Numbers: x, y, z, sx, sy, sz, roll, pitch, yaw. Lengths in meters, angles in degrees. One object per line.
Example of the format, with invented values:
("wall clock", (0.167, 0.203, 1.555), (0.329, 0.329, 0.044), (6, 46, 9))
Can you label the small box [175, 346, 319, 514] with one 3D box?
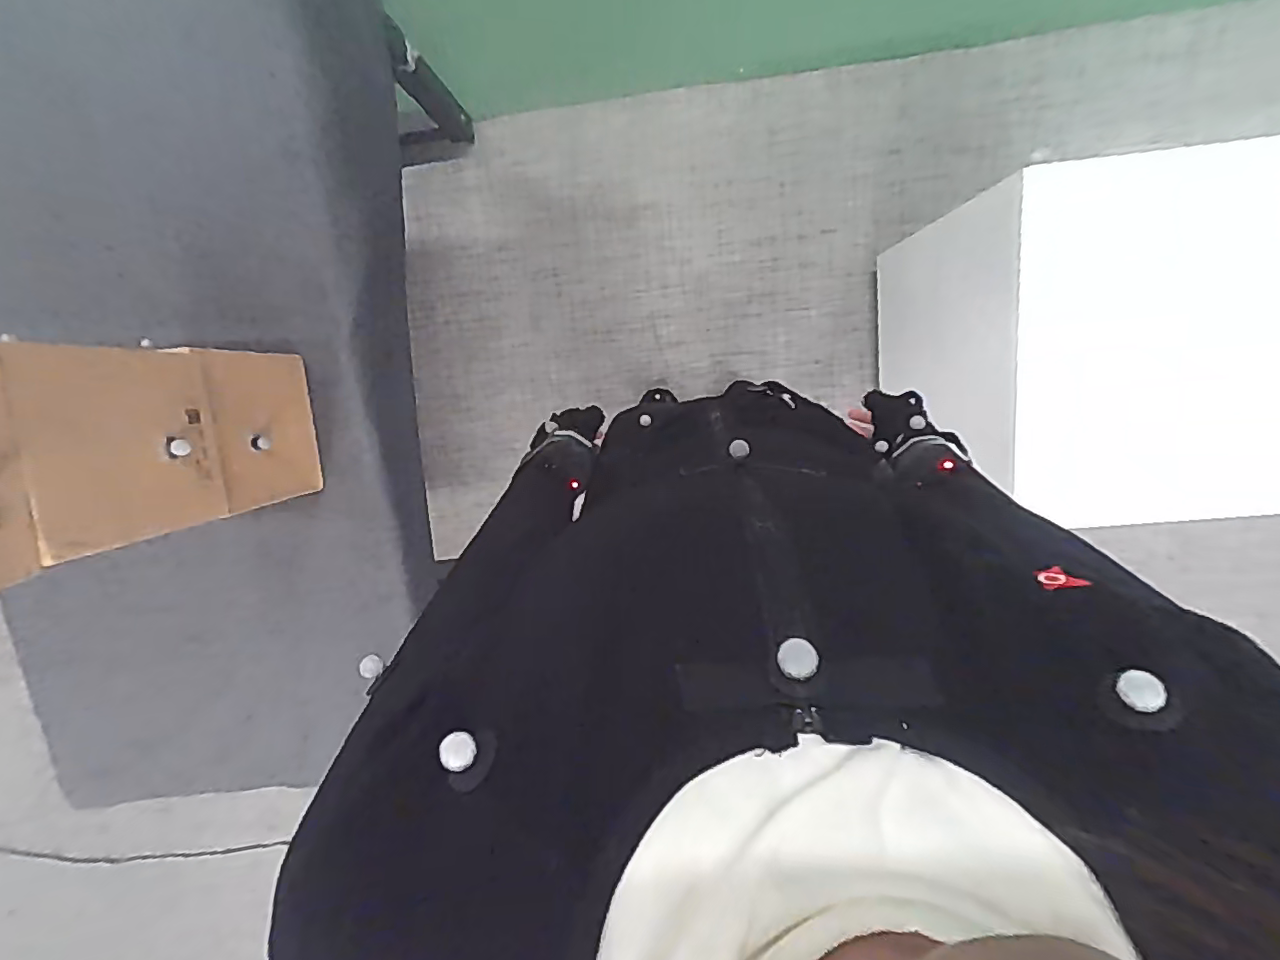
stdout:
("small box", (-0.516, -0.065, 0.640), (0.168, 0.176, 0.179), (-2, 101, 5))
